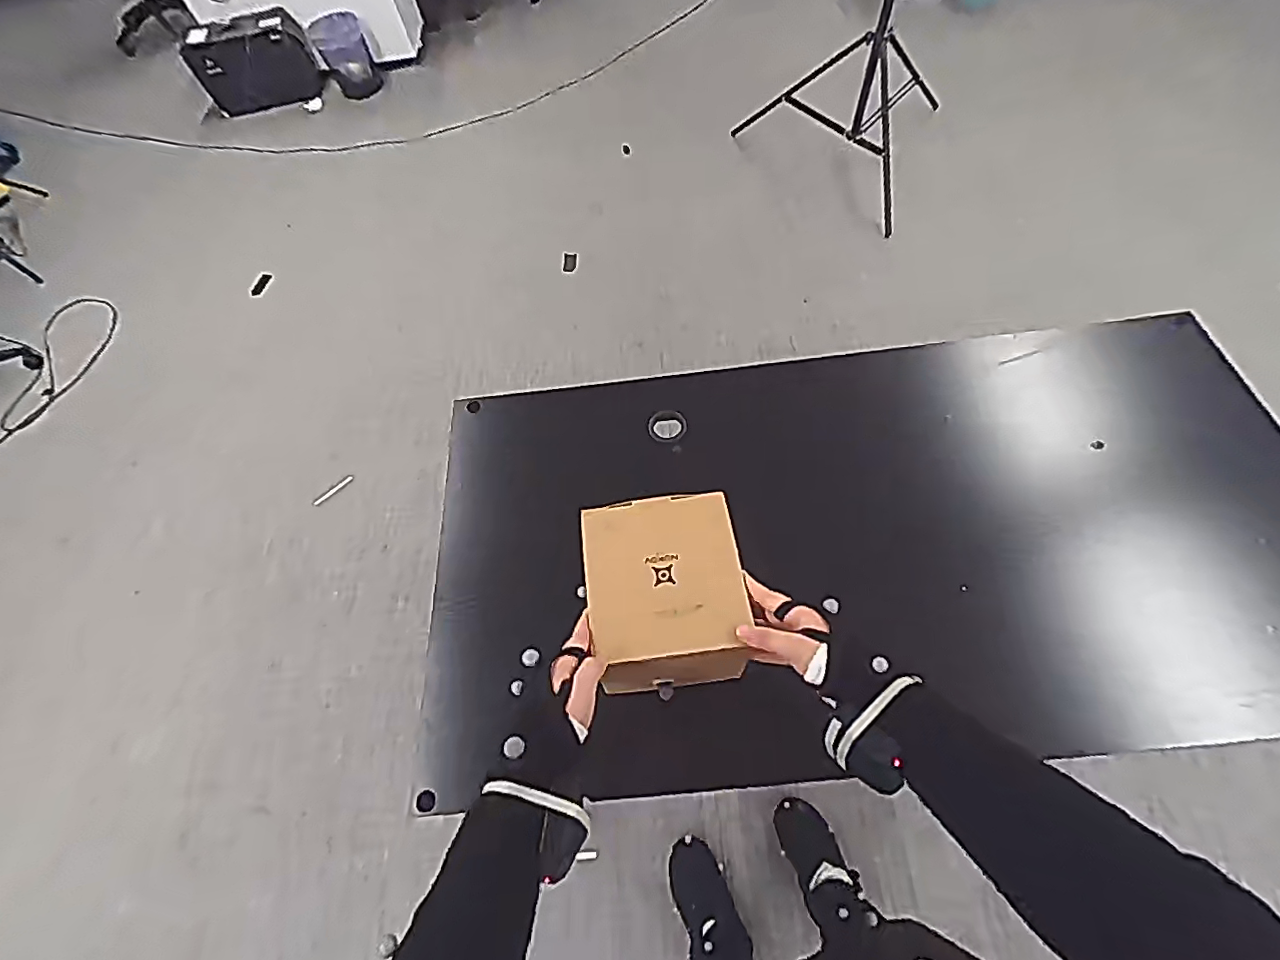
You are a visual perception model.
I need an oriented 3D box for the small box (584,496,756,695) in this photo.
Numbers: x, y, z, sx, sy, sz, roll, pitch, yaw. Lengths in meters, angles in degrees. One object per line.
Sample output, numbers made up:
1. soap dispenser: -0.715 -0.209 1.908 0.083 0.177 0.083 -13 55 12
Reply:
1. small box: 0.030 0.143 0.647 0.168 0.176 0.179 -9 60 0
